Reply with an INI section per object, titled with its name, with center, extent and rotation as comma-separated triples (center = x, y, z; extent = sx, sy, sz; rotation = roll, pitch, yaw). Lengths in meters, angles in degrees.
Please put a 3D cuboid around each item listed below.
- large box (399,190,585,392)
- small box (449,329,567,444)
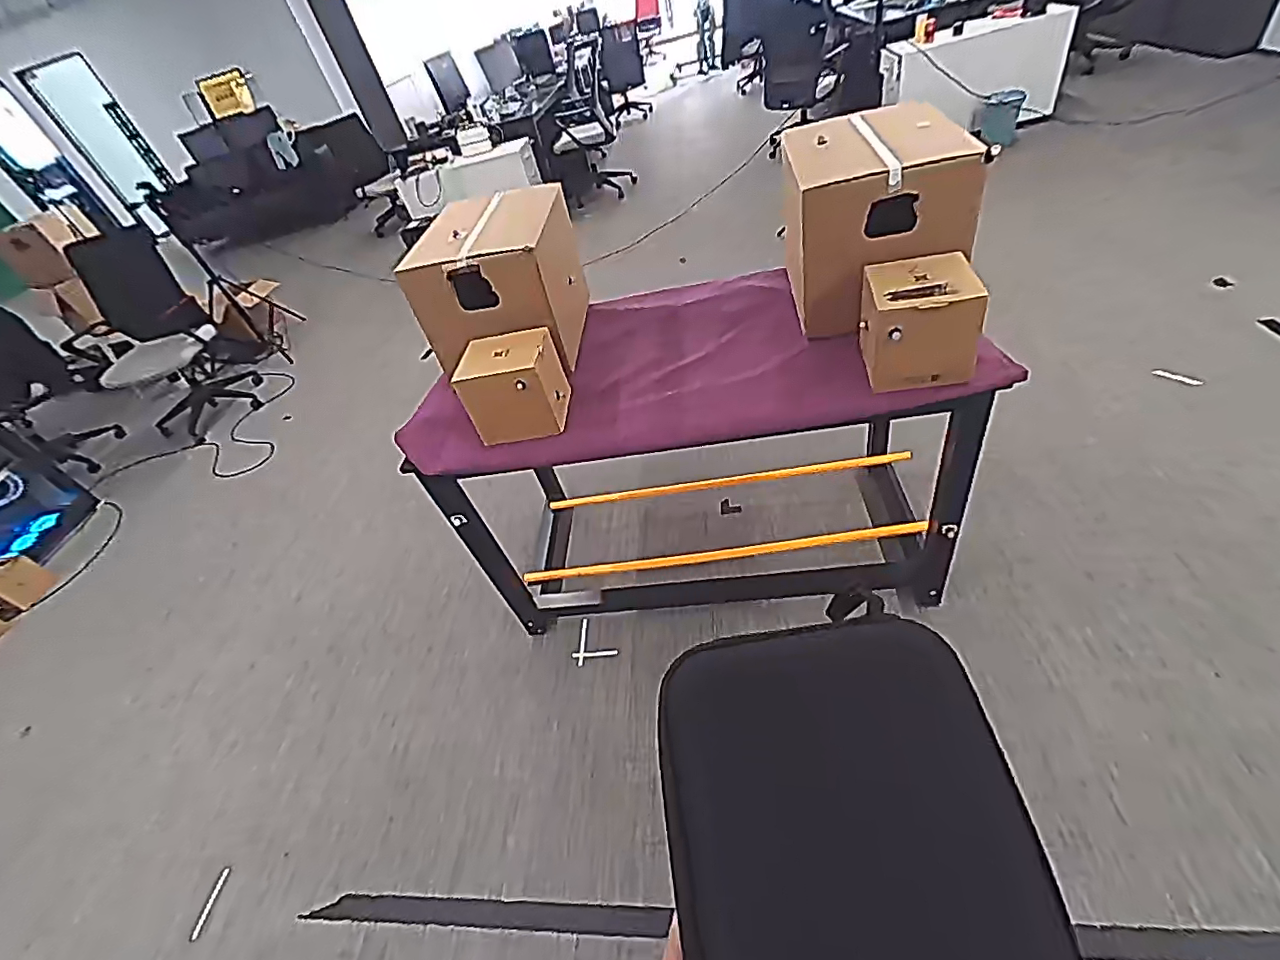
[large box]
center = -0.331, -0.470, 1.350
extent = 0.320, 0.320, 0.408
rotation = -7, 46, 9
[small box]
center = -0.270, -0.193, 1.147
extent = 0.179, 0.176, 0.168
rotation = -8, 42, 8
